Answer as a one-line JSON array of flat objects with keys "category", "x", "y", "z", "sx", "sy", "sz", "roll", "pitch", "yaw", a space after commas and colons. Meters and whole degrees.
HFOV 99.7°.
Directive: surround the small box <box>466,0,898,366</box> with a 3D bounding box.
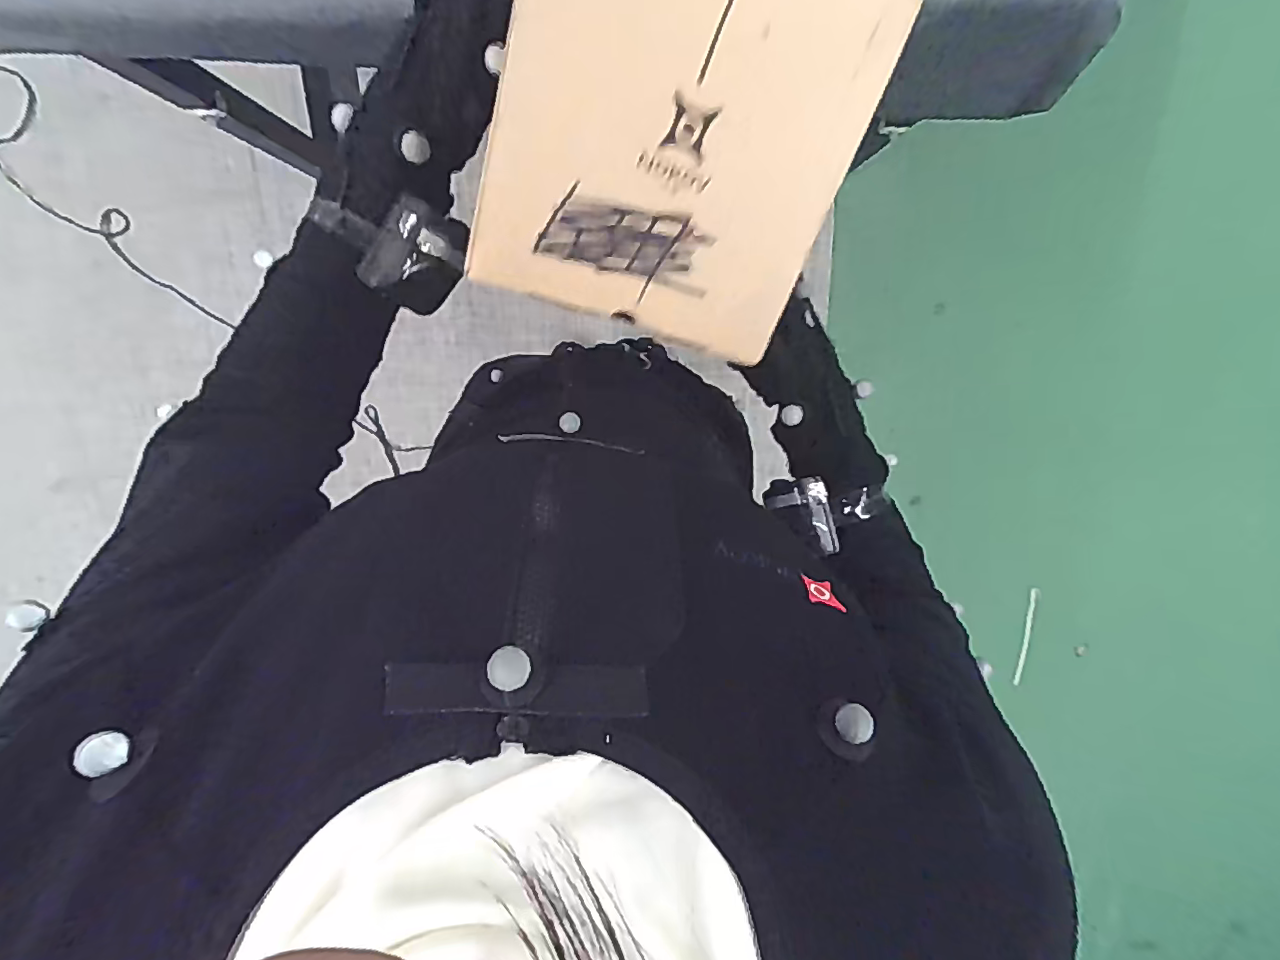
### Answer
[{"category": "small box", "x": 0.005, "y": -0.200, "z": 0.329, "sx": 0.168, "sy": 0.176, "sz": 0.179, "roll": 14, "pitch": 119, "yaw": -17}]
